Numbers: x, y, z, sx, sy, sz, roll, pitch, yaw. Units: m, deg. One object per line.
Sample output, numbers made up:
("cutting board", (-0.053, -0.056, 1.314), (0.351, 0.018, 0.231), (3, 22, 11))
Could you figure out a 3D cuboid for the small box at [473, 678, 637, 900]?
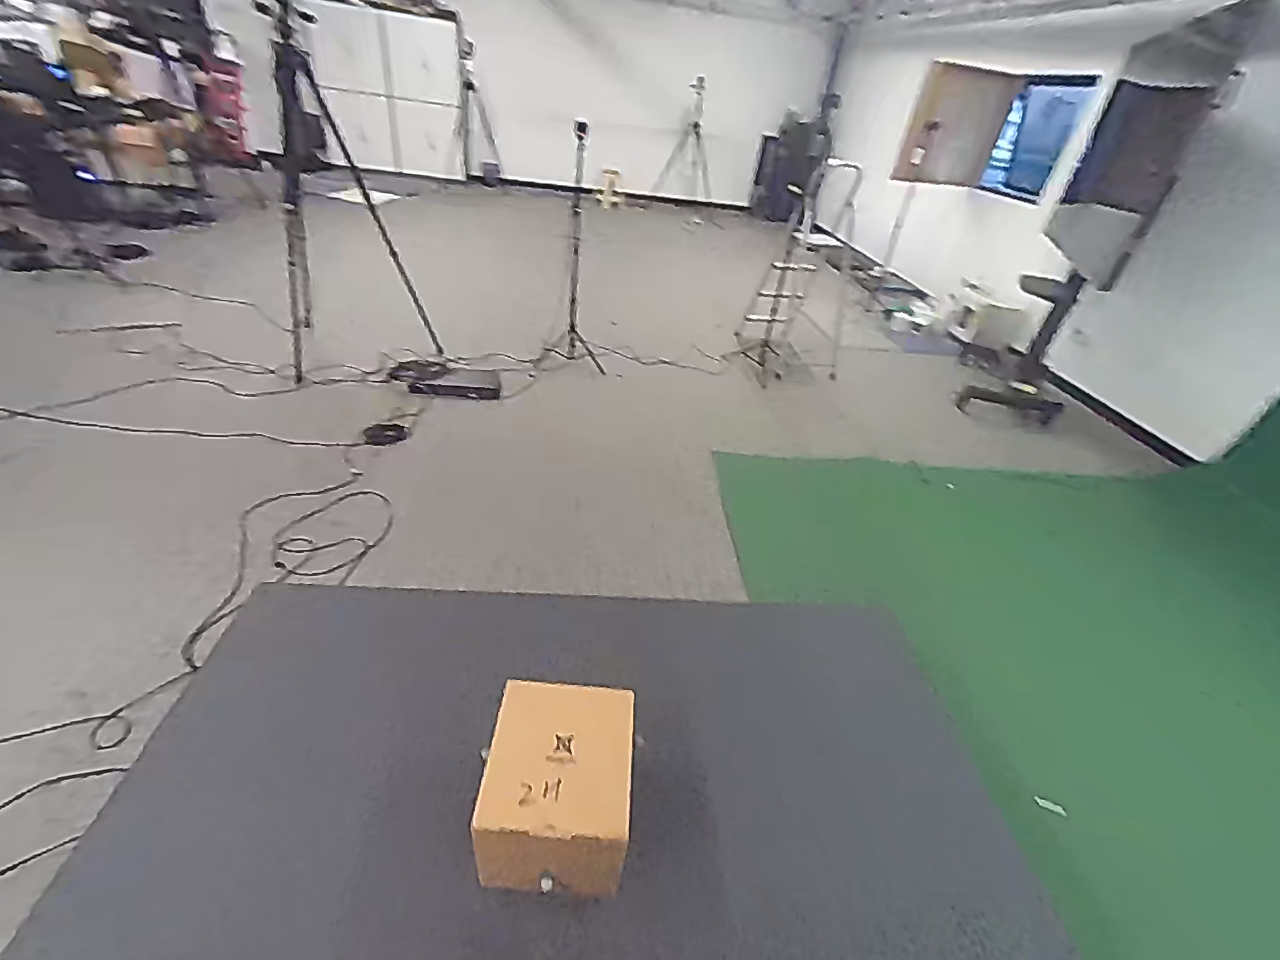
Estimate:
("small box", (-0.098, 0.375, 0.665), (0.168, 0.176, 0.179), (6, 35, -2))
